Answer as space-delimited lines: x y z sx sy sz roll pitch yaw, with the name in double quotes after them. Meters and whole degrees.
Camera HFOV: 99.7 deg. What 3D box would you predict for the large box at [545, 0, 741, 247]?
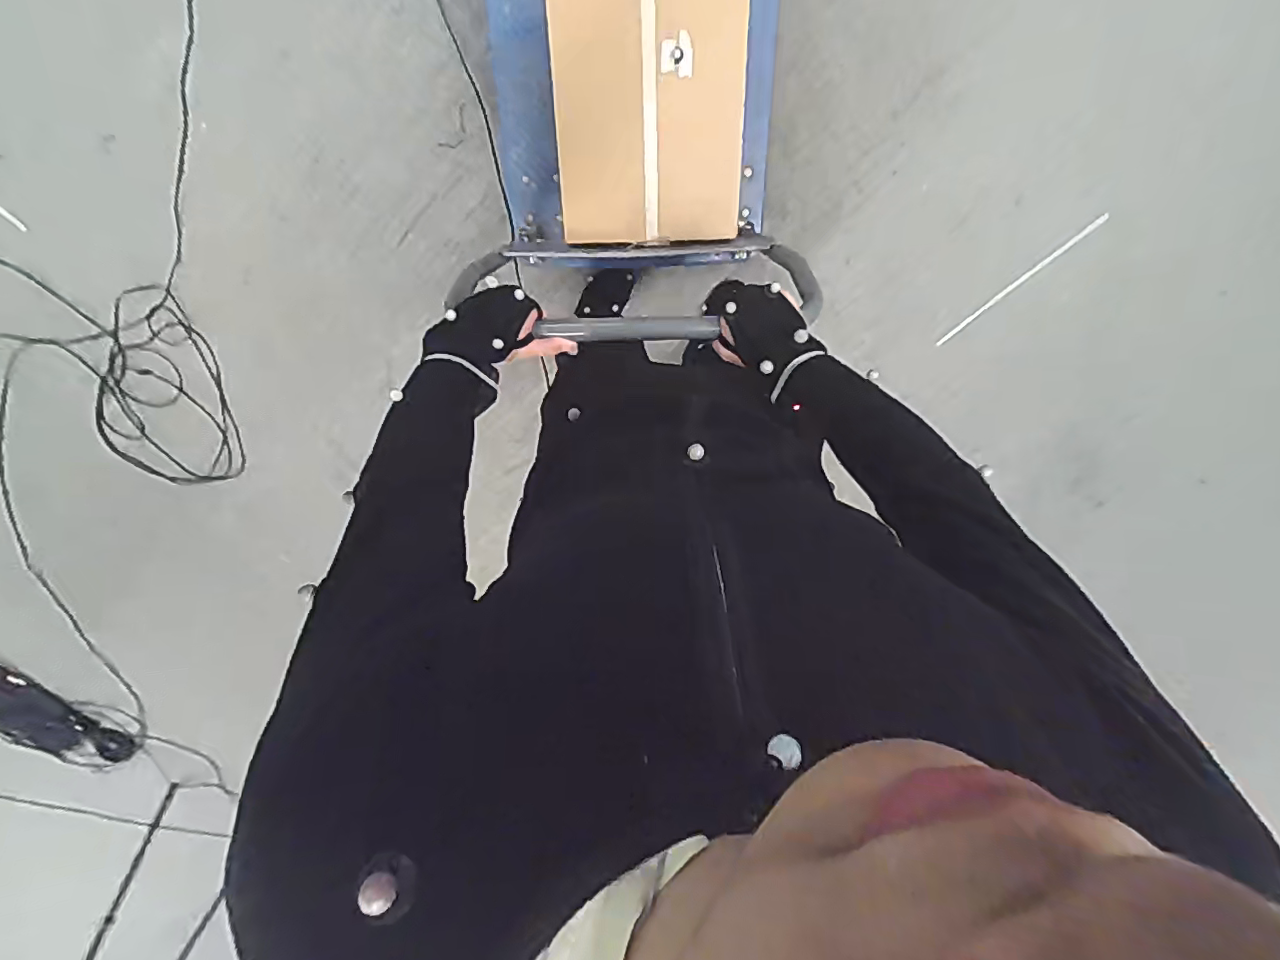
0.015 -0.679 1.043 0.320 0.320 0.408 -1 116 1 "large box"
